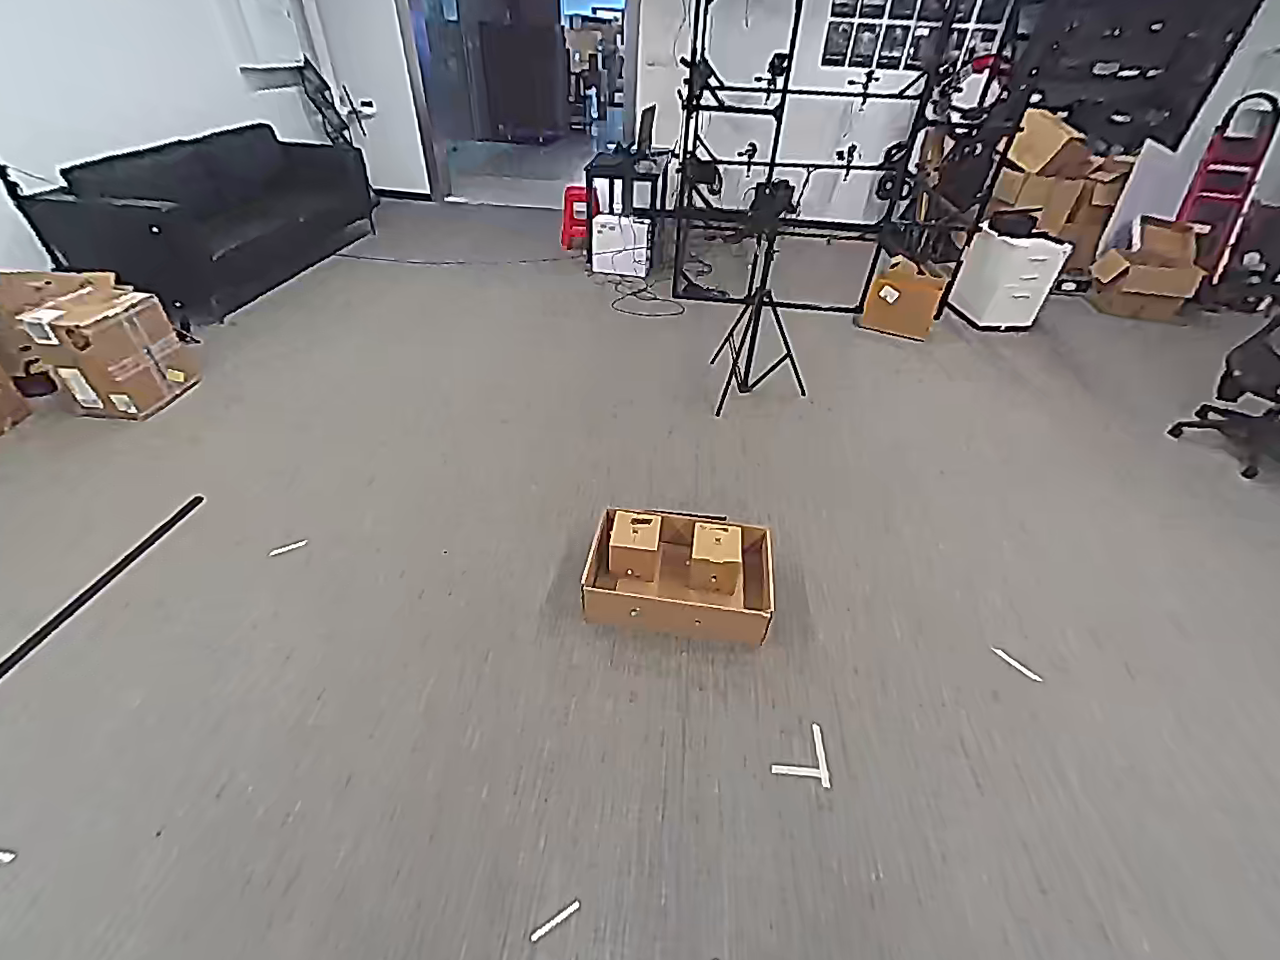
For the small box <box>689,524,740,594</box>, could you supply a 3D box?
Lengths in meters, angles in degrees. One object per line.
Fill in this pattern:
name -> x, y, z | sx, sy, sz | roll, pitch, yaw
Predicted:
small box -> 0.263, 0.281, 1.916 | 0.168, 0.176, 0.179 | 5, 41, 8
